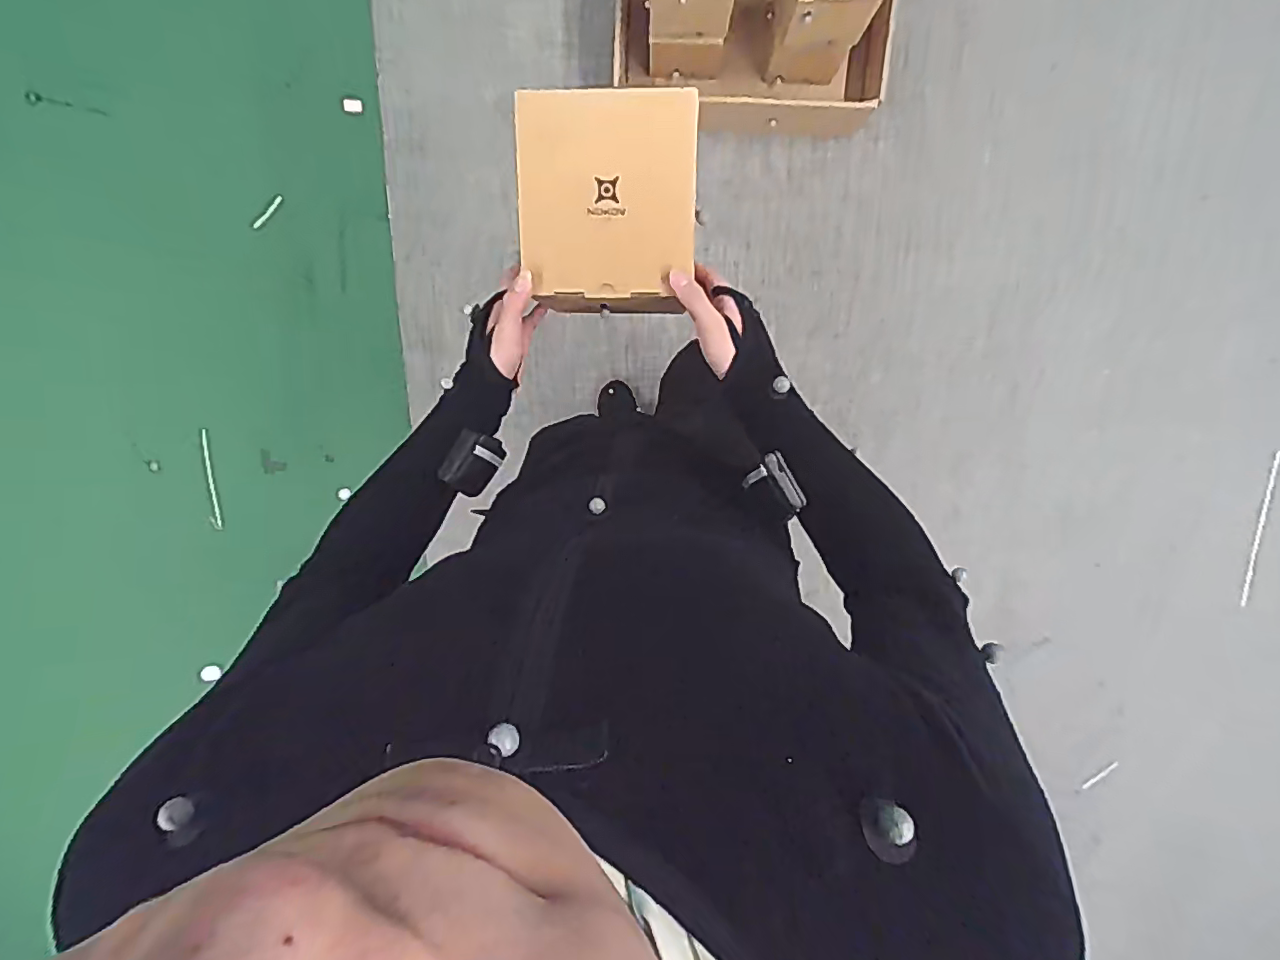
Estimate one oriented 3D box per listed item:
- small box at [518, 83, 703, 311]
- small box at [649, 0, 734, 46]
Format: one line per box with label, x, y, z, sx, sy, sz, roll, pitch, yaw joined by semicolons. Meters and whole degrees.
small box;-0.027;-0.278;0.568;0.168;0.176;0.179;1;103;2
small box;0.103;-1.021;1.085;0.168;0.176;0.179;1;101;3
